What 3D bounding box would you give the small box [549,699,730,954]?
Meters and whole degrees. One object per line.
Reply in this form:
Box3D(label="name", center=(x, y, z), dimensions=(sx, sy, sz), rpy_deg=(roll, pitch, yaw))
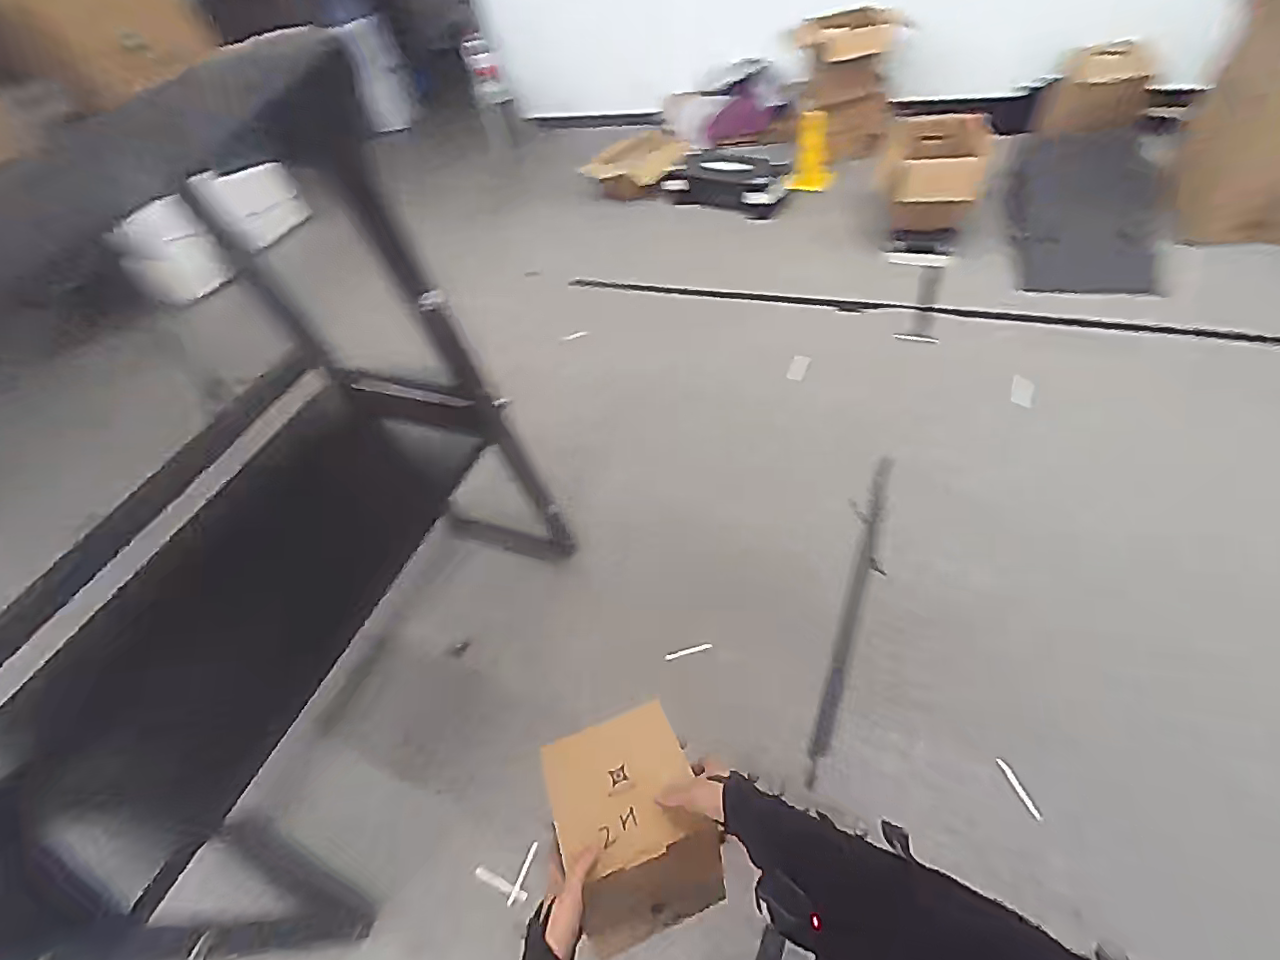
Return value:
Box3D(label="small box", center=(-0.002, 0.412, 0.658), dimensions=(0.168, 0.176, 0.179), rpy_deg=(-17, 31, -12))
